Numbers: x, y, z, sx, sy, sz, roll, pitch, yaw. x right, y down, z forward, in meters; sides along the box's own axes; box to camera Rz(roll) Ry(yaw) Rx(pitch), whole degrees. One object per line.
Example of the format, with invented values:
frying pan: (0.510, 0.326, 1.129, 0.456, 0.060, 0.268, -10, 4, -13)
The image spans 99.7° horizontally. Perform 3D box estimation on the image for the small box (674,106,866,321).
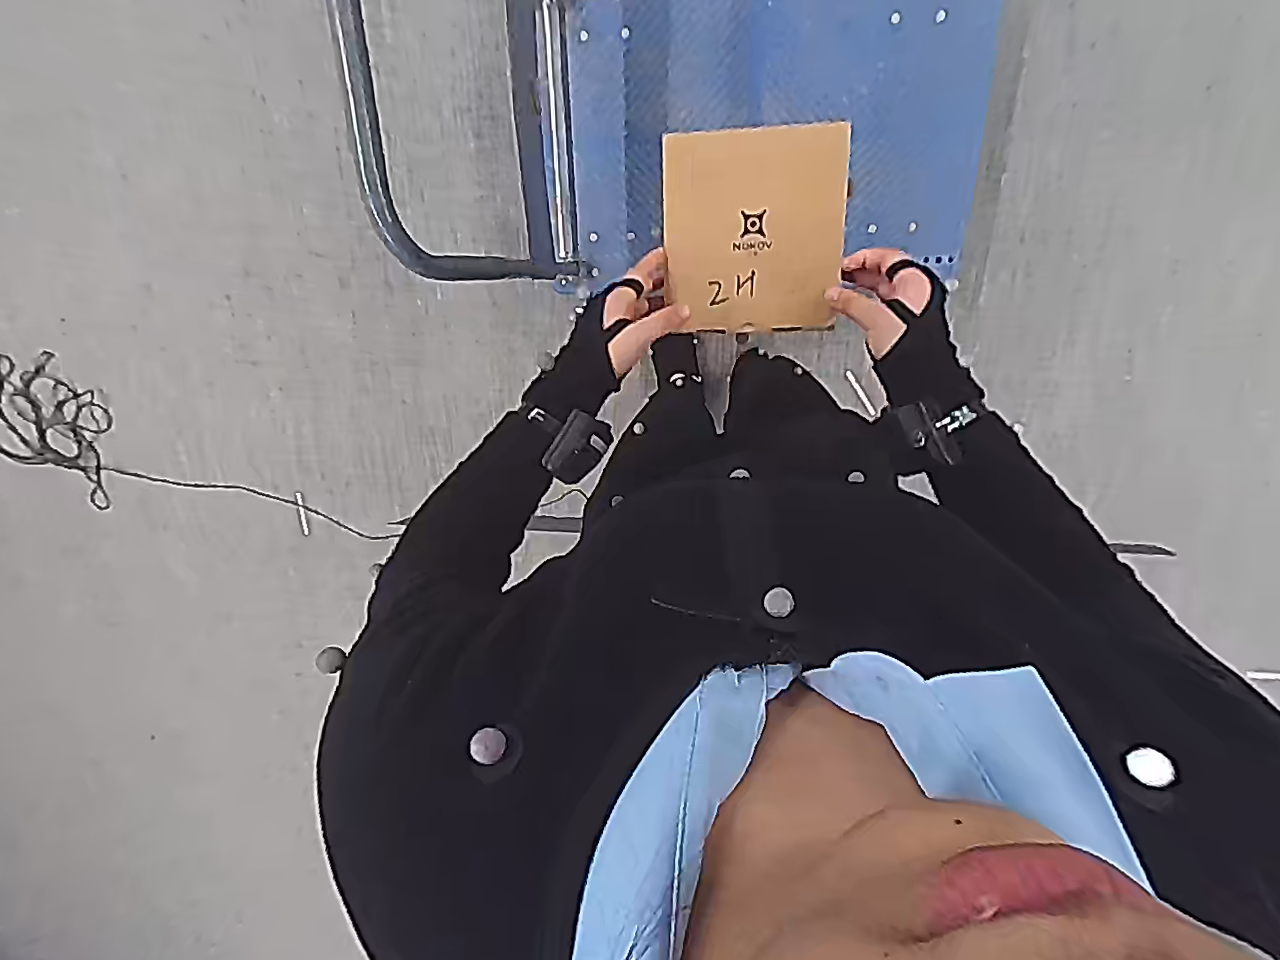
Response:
small box: (0.122, -0.260, 0.567, 0.168, 0.176, 0.179, 1, 108, 8)

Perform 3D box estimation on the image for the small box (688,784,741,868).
small box: (0.249, 1.172, 1.836, 0.168, 0.176, 0.179, 0, 109, 4)
